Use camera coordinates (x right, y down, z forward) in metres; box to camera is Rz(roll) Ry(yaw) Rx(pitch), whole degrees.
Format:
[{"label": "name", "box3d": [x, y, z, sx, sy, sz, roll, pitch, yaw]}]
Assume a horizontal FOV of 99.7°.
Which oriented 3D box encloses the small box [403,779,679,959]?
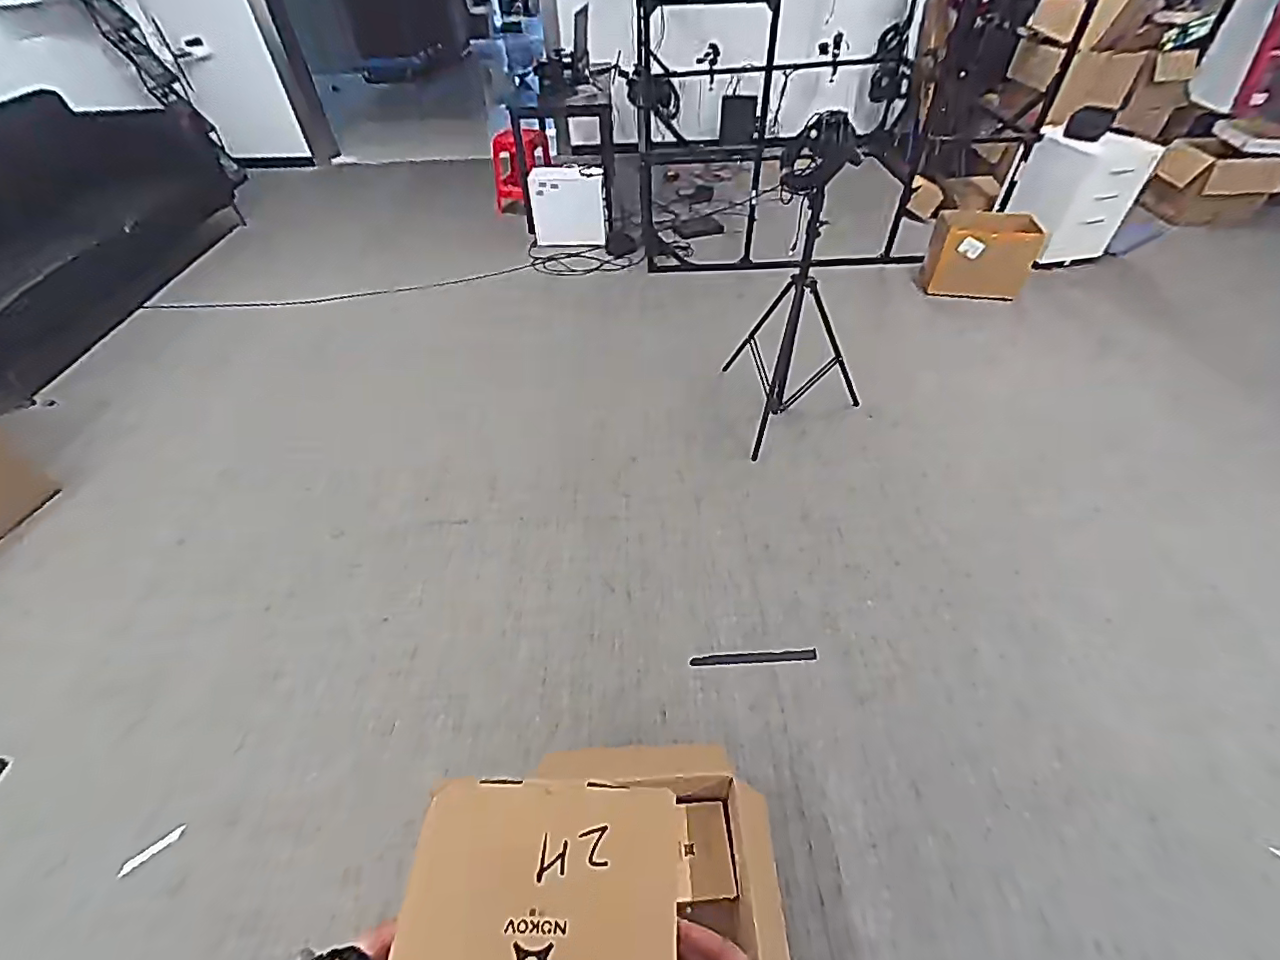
[{"label": "small box", "box3d": [-0.058, 0.330, 0.381, 0.168, 0.176, 0.179, 2, 48, 0]}]
